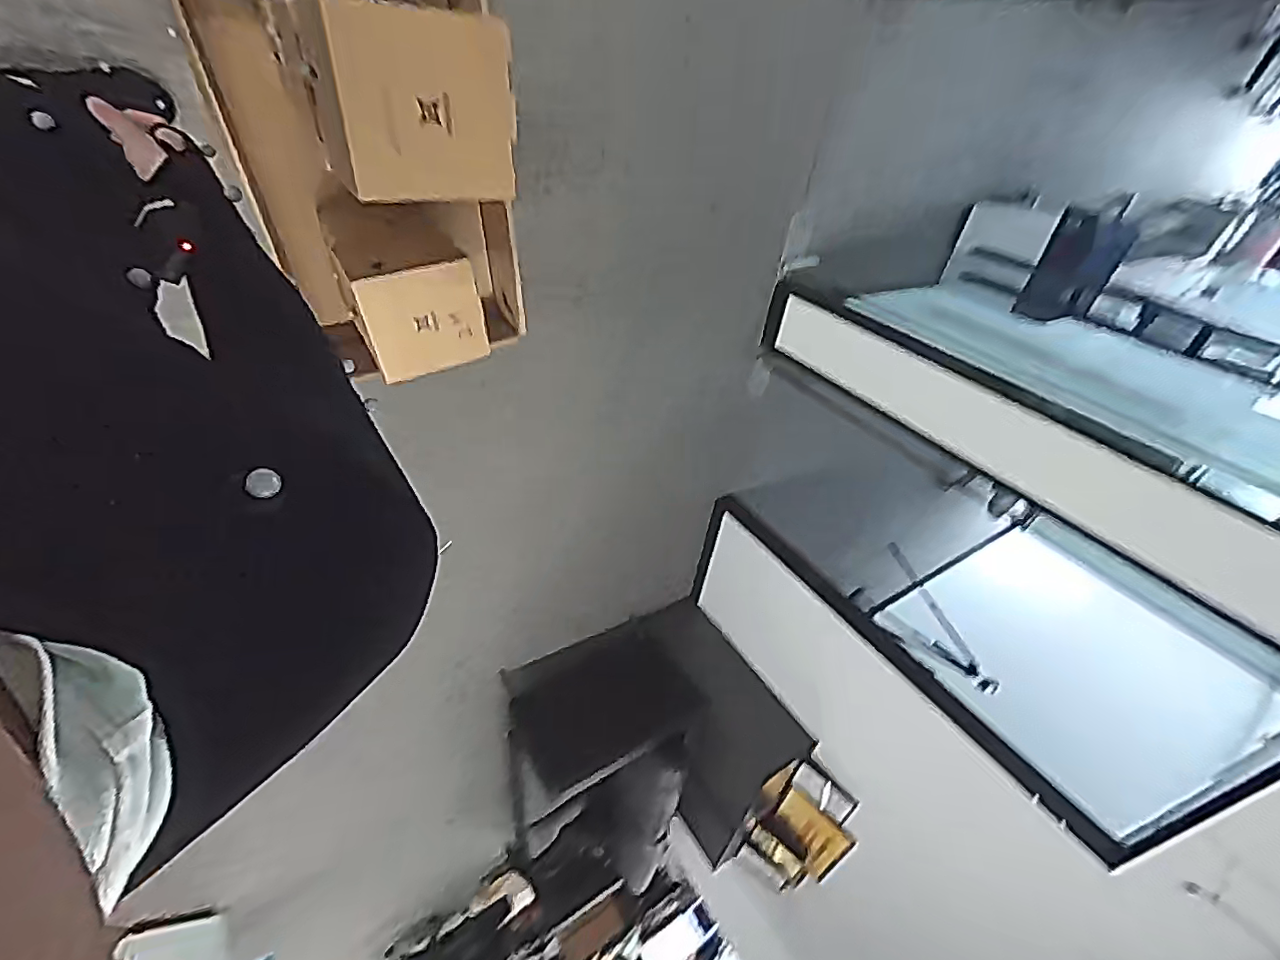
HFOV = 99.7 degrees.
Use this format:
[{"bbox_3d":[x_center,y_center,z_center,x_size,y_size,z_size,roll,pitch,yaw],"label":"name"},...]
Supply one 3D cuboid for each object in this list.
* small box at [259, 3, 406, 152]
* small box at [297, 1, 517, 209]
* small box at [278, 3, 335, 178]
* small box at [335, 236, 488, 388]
[{"bbox_3d":[-0.437,-0.593,0.802,0.179,0.176,0.168,-22,136,-26],"label":"small box"},{"bbox_3d":[-0.253,-0.411,0.602,0.179,0.176,0.168,-17,134,-30],"label":"small box"},{"bbox_3d":[-0.347,-0.499,0.703,0.179,0.176,0.168,-19,136,-30],"label":"small box"},{"bbox_3d":[-0.372,-0.278,0.878,0.179,0.176,0.168,-23,138,-24],"label":"small box"}]
